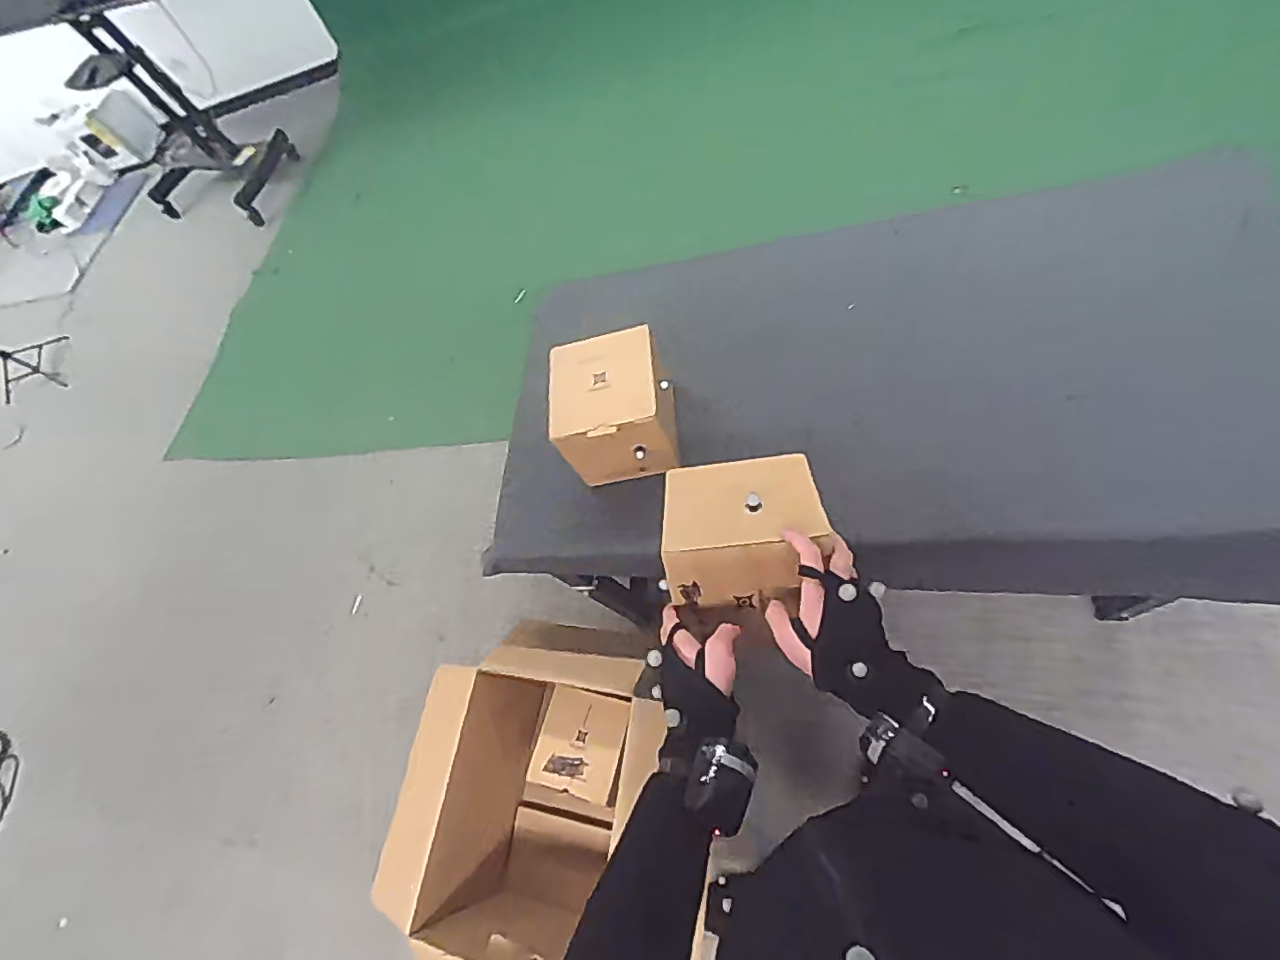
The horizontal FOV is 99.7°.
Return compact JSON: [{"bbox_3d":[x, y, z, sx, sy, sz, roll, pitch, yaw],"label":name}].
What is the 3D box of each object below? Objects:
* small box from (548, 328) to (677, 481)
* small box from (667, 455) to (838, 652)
[{"bbox_3d":[-0.040,-0.112,0.887,0.168,0.176,0.179,-11,60,12],"label":"small box"},{"bbox_3d":[0.130,0.083,0.656,0.179,0.168,0.176,-7,31,9],"label":"small box"}]
